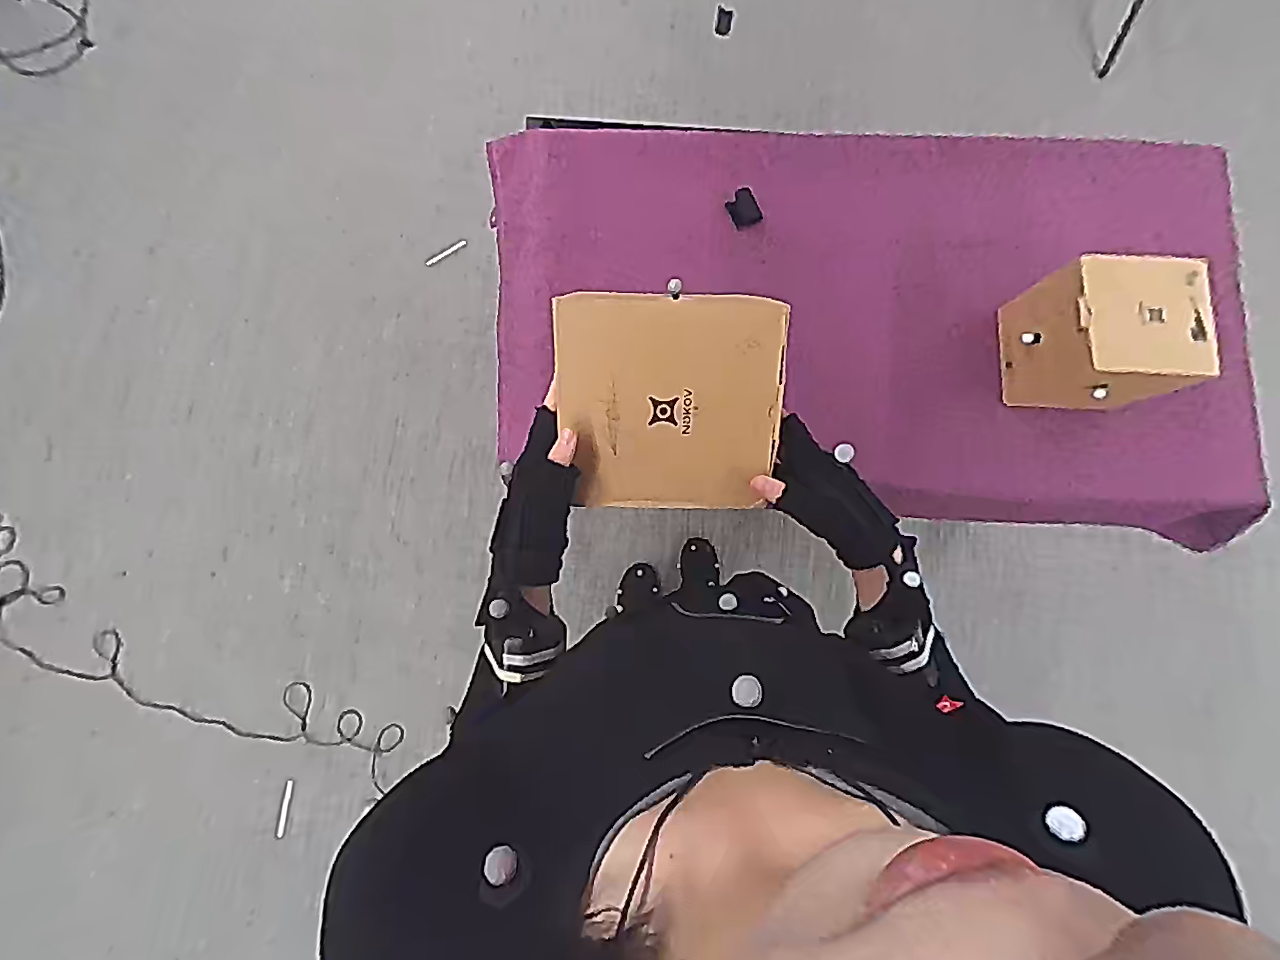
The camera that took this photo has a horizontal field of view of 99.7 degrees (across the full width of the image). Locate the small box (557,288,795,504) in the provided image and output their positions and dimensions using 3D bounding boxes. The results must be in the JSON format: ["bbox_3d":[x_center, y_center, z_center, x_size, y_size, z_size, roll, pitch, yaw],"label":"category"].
[{"bbox_3d":[0.025,-0.085,0.490,0.179,0.176,0.168,0,108,0],"label":"small box"}]

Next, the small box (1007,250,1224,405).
[{"bbox_3d":[0.672,-0.213,0.792,0.179,0.176,0.168,2,82,0],"label":"small box"}]
